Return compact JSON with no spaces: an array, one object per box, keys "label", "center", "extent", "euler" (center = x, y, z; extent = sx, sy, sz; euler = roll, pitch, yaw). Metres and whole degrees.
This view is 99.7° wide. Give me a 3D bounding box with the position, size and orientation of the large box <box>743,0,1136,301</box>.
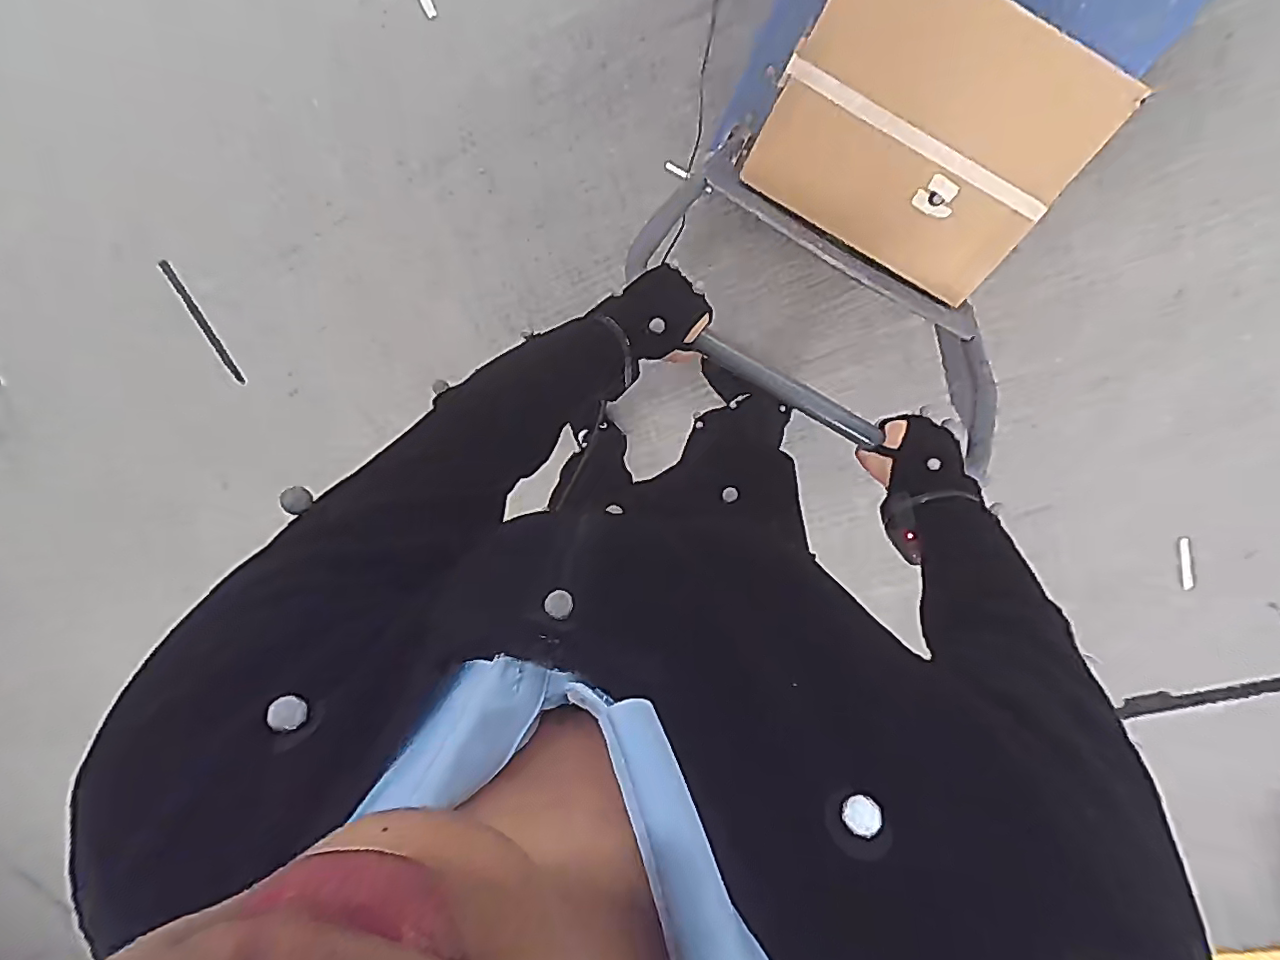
[{"label":"large box","center":[0.430,-0.565,0.879],"extent":[0.408,0.320,0.320],"euler":[29,131,-3]}]
